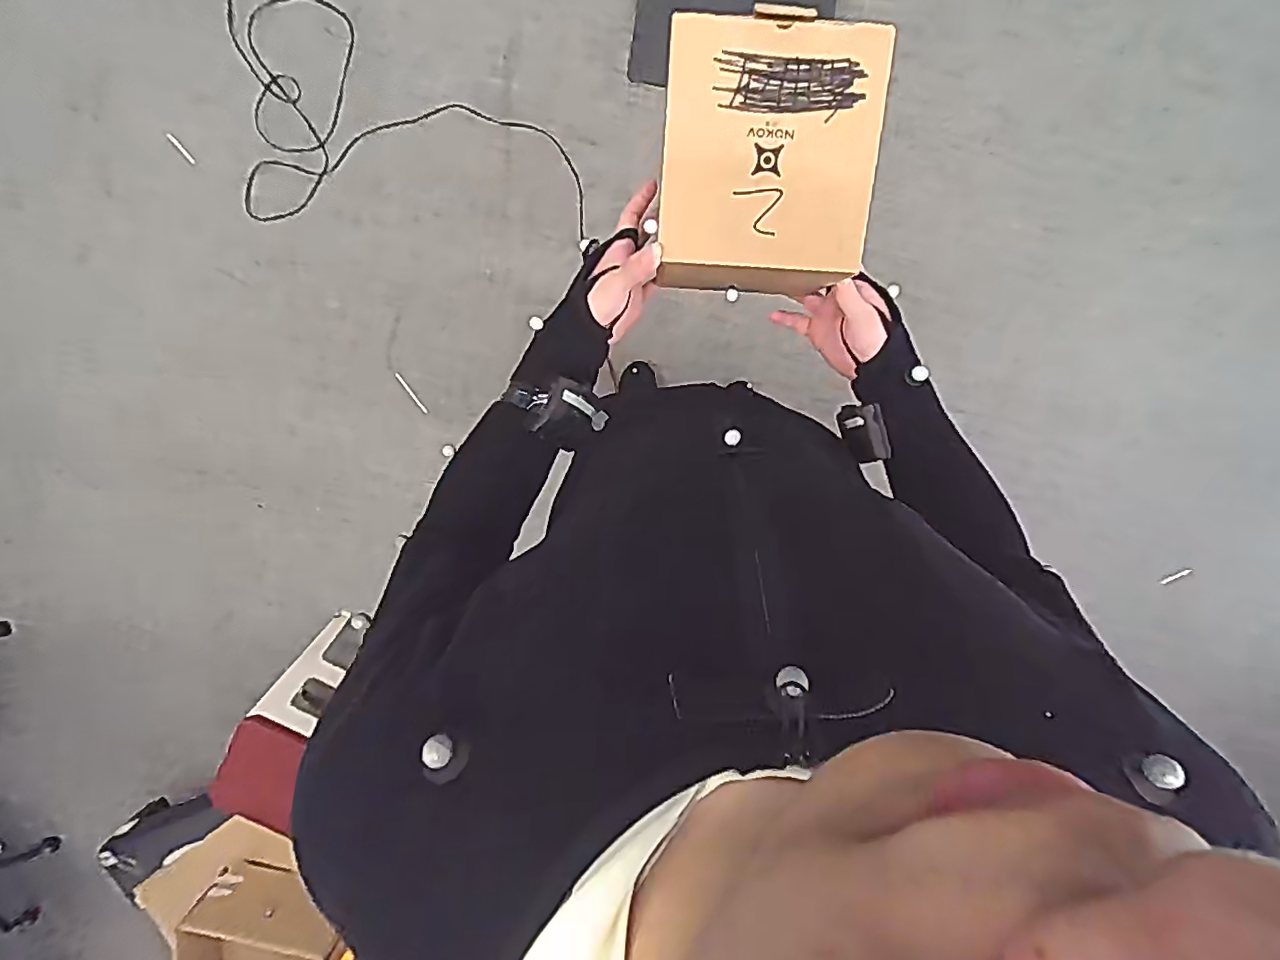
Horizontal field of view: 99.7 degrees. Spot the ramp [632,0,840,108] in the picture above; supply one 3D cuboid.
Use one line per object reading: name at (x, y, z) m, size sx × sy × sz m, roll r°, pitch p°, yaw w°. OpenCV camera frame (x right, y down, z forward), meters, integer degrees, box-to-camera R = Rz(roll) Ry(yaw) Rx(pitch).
ramp at (0.297, -1.462, 1.221) m, size 0.509 × 0.206 × 0.991 m, roll 8°, pitch 103°, yaw -1°
